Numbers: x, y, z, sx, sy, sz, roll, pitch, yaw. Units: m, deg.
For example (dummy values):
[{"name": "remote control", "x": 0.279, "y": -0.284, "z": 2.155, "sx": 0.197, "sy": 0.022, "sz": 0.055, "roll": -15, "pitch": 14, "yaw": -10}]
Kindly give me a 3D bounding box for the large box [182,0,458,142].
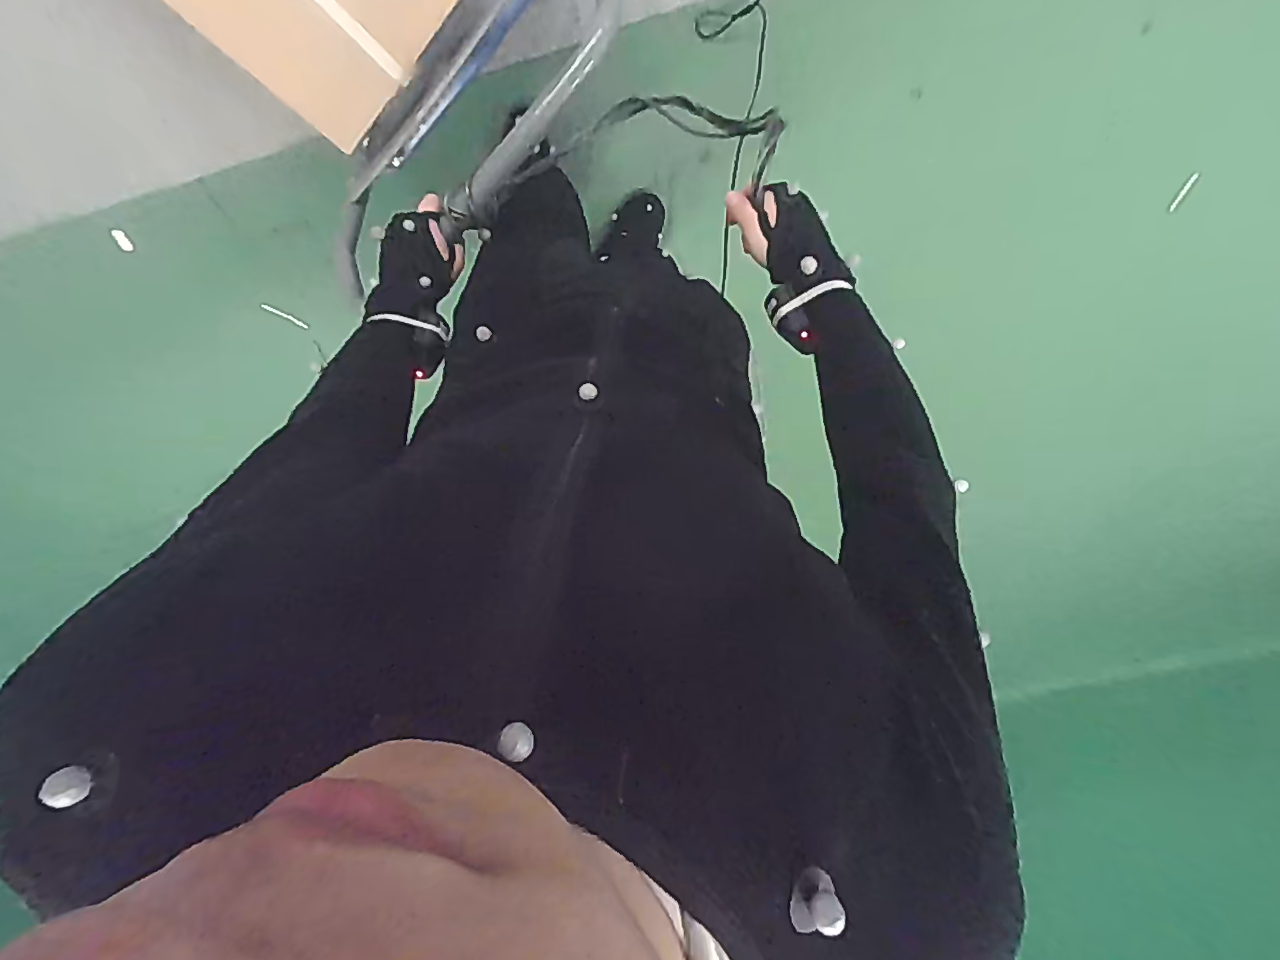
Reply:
[{"name": "large box", "x": -0.502, "y": -0.820, "z": 0.803, "sx": 0.320, "sy": 0.320, "sz": 0.408, "roll": -37, "pitch": 132, "yaw": 22}]
